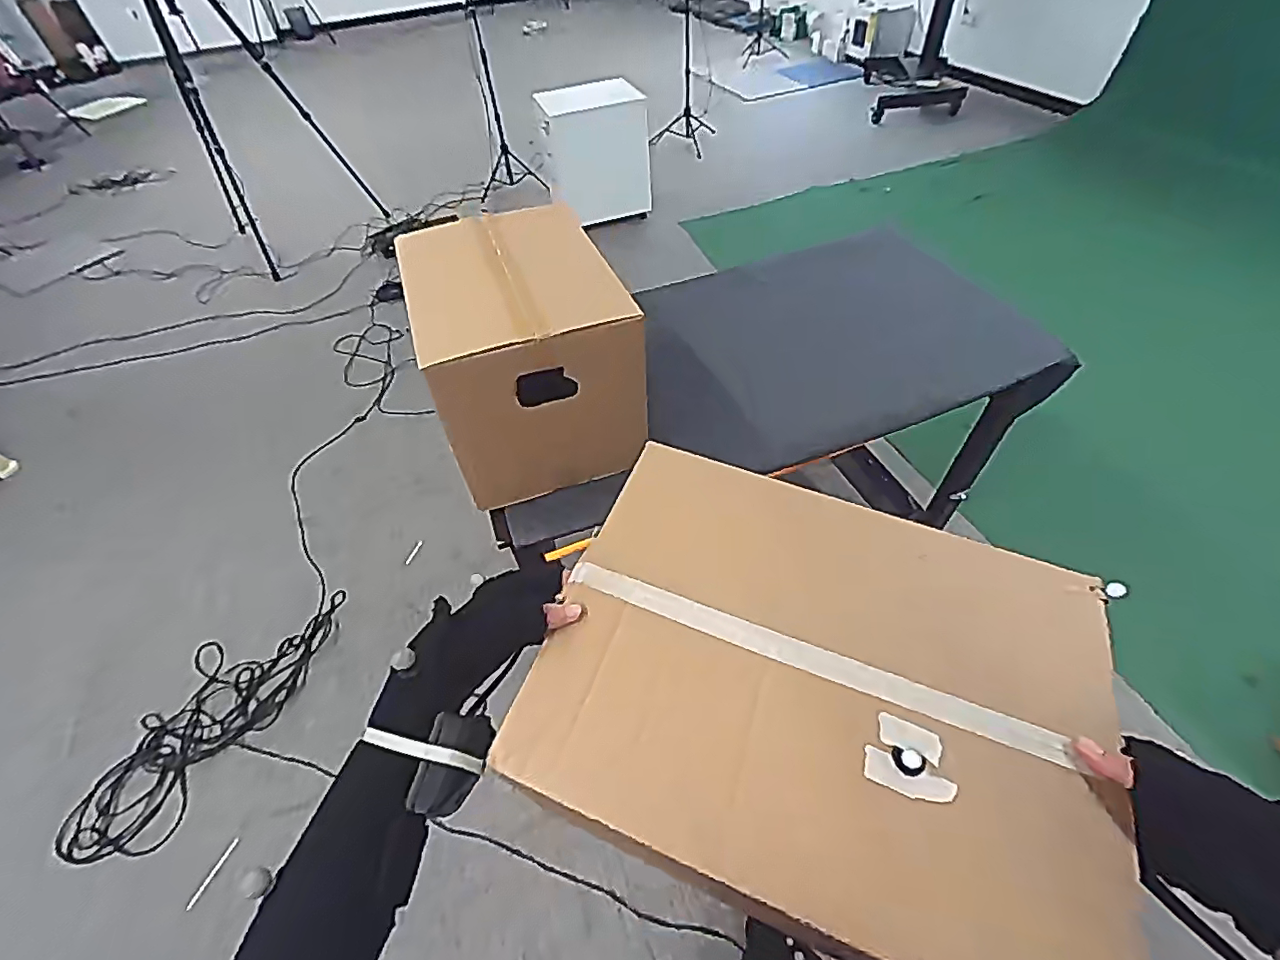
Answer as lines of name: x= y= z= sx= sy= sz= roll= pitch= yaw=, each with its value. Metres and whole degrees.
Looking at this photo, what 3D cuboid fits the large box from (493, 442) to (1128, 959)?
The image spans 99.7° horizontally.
large box: x=0.132 y=0.219 z=0.531 sx=0.408 sy=0.320 sz=0.320 roll=18 pitch=57 yaw=12
